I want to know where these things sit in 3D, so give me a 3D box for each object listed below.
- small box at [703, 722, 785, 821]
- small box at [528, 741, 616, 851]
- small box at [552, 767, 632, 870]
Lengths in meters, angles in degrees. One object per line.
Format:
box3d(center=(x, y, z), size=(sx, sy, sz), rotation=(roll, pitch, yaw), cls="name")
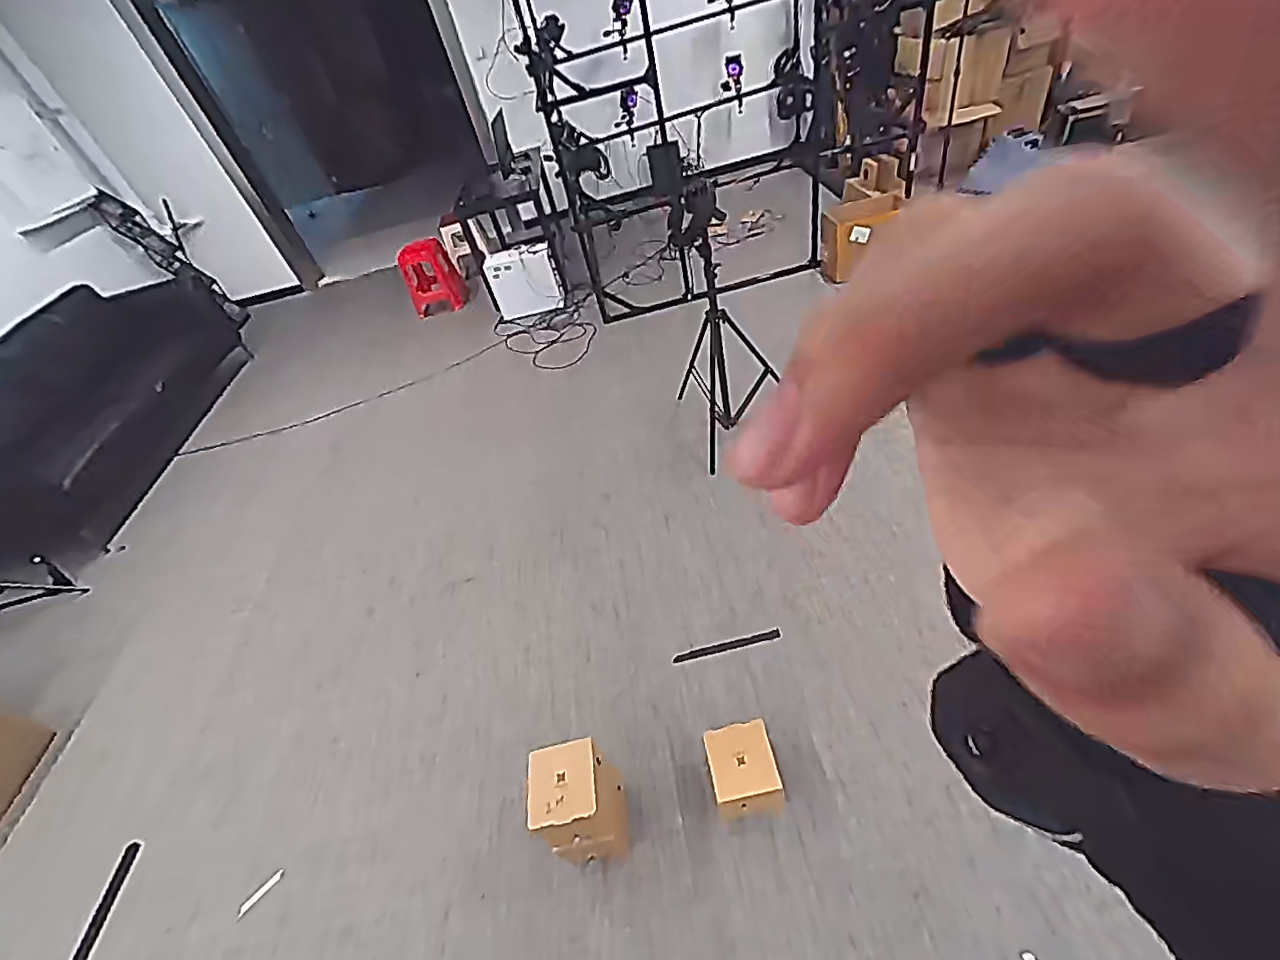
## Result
box3d(center=(0.276, 0.774, 1.423), size=(0.168, 0.176, 0.179), rotation=(-15, 42, 2), cls="small box")
box3d(center=(-0.164, 0.772, 1.320), size=(0.168, 0.176, 0.179), rotation=(-16, 43, 4), cls="small box")
box3d(center=(-0.126, 0.893, 1.425), size=(0.168, 0.176, 0.179), rotation=(-15, 42, 4), cls="small box")
